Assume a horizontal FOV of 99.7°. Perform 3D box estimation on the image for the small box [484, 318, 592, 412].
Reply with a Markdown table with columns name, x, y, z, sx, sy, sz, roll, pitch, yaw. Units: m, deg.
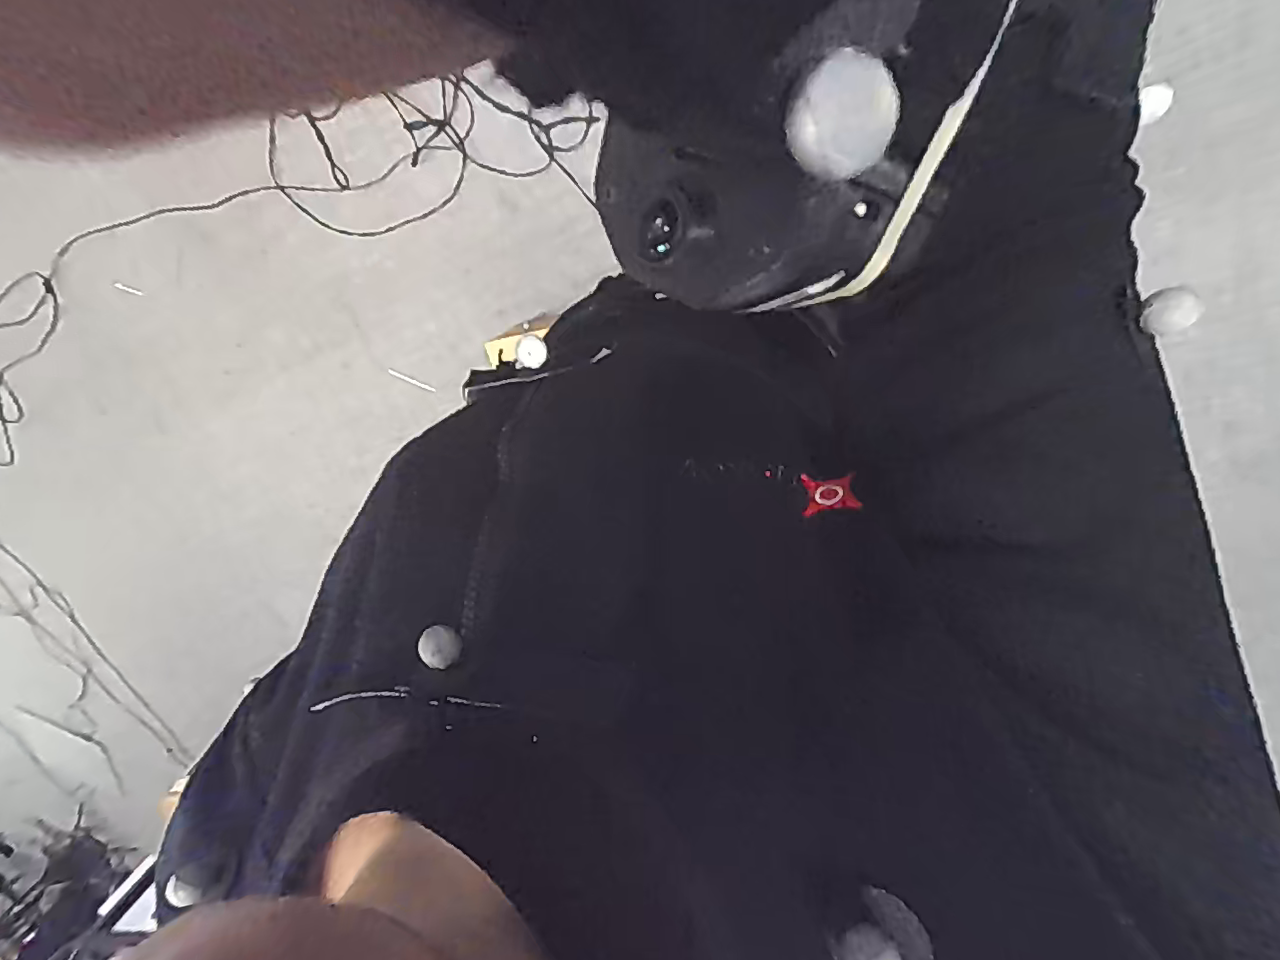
| name | x | y | z | sx | sy | sz | roll | pitch | yaw |
| --- | --- | --- | --- | --- | --- | --- | --- | --- | --- |
| small box | -0.235 | -0.276 | 1.289 | 0.179 | 0.176 | 0.168 | -8 | 115 | 16 |
